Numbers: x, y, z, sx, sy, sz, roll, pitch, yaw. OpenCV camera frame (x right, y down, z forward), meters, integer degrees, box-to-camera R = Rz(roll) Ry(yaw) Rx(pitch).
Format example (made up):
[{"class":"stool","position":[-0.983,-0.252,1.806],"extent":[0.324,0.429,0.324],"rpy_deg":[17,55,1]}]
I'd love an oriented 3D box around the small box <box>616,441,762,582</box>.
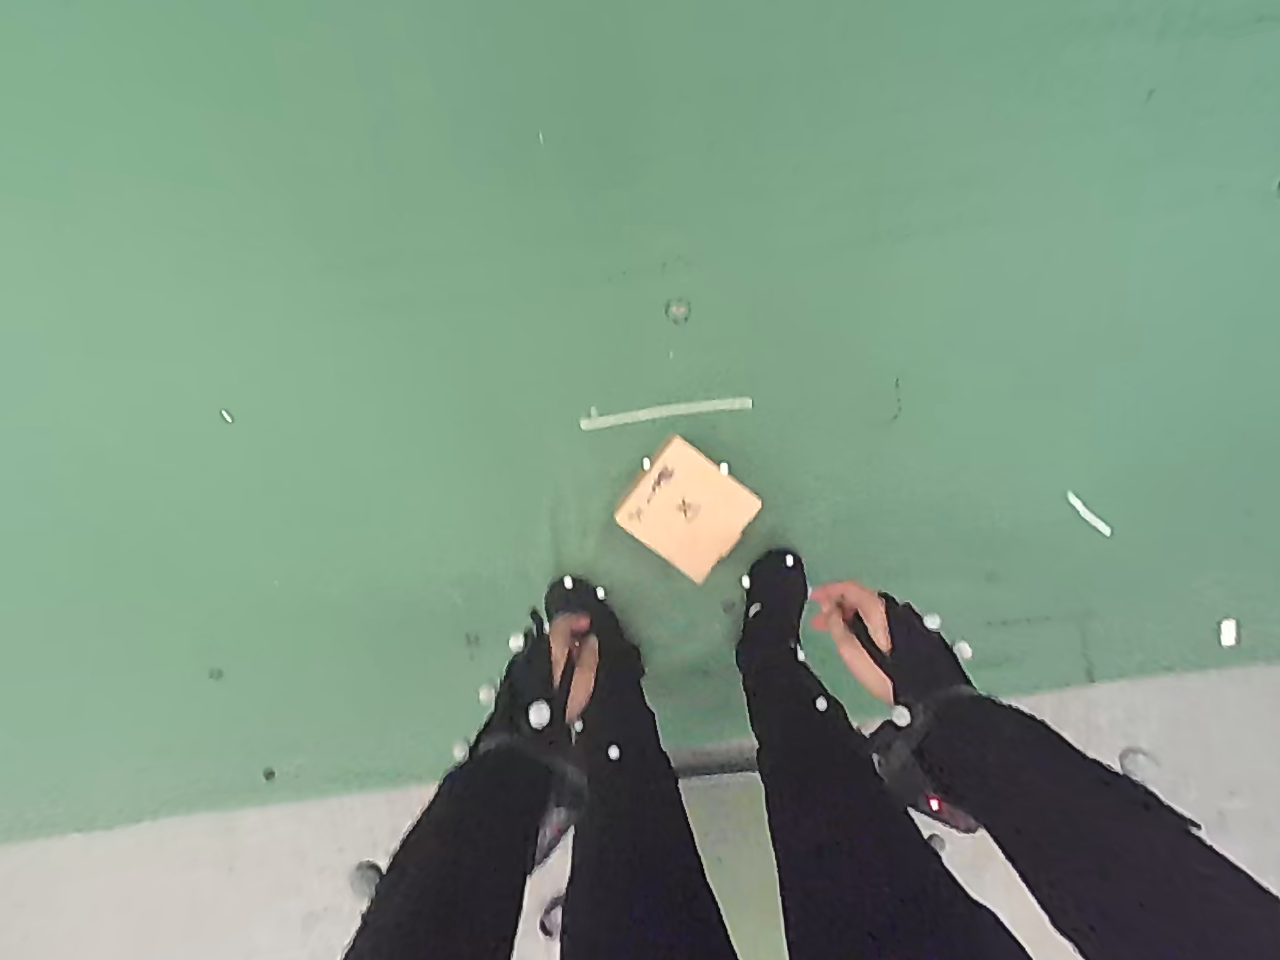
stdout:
[{"class":"small box","position":[0.077,0.042,0.935],"extent":[0.179,0.176,0.168],"rpy_deg":[38,94,-4]}]
